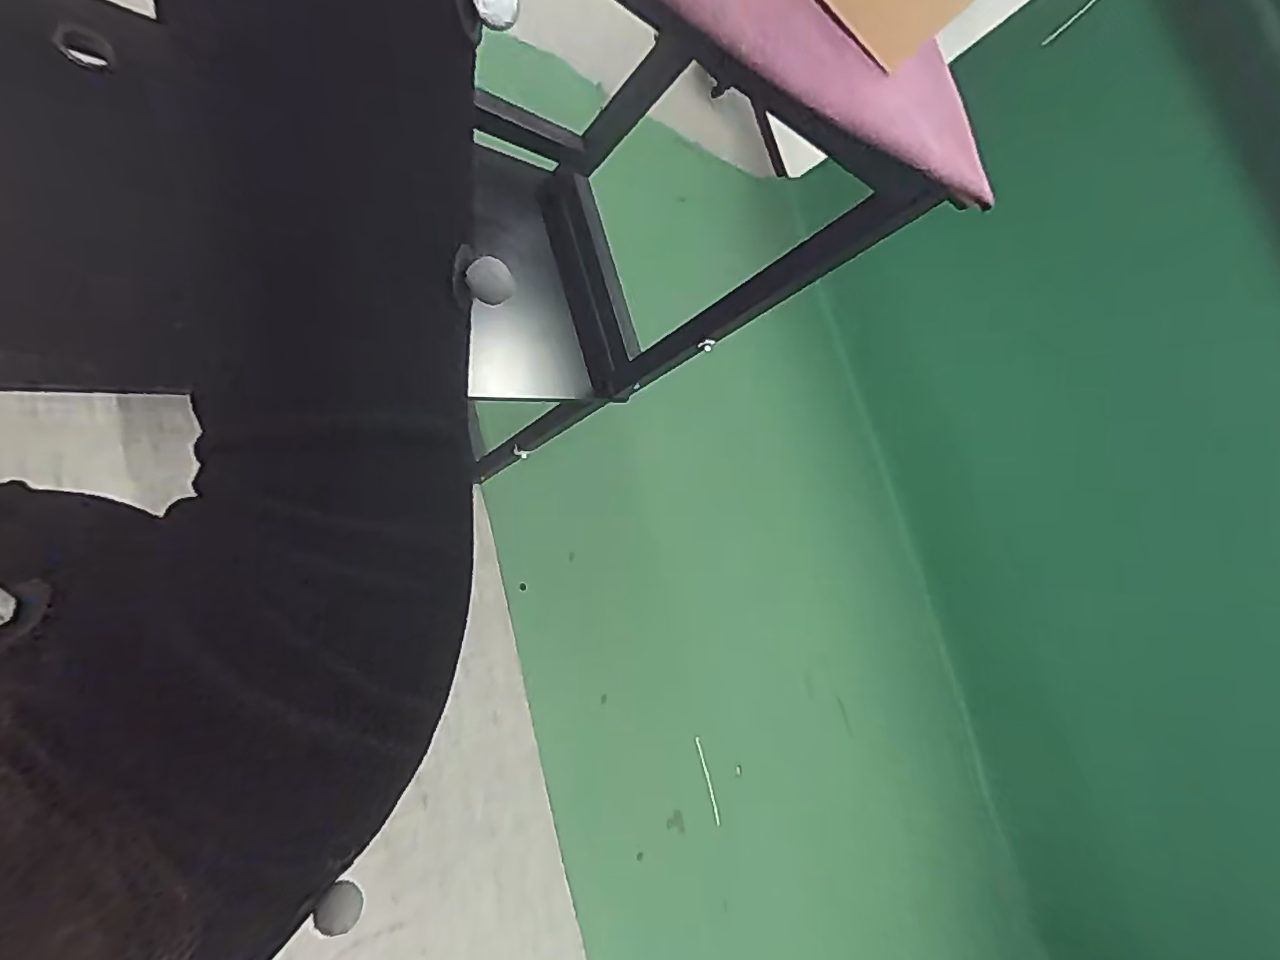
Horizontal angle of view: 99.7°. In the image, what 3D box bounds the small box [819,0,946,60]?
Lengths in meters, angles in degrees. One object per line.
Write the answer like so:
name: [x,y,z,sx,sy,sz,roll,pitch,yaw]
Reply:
small box: [0.234,-0.550,0.500,0.179,0.176,0.168,-5,75,-45]
